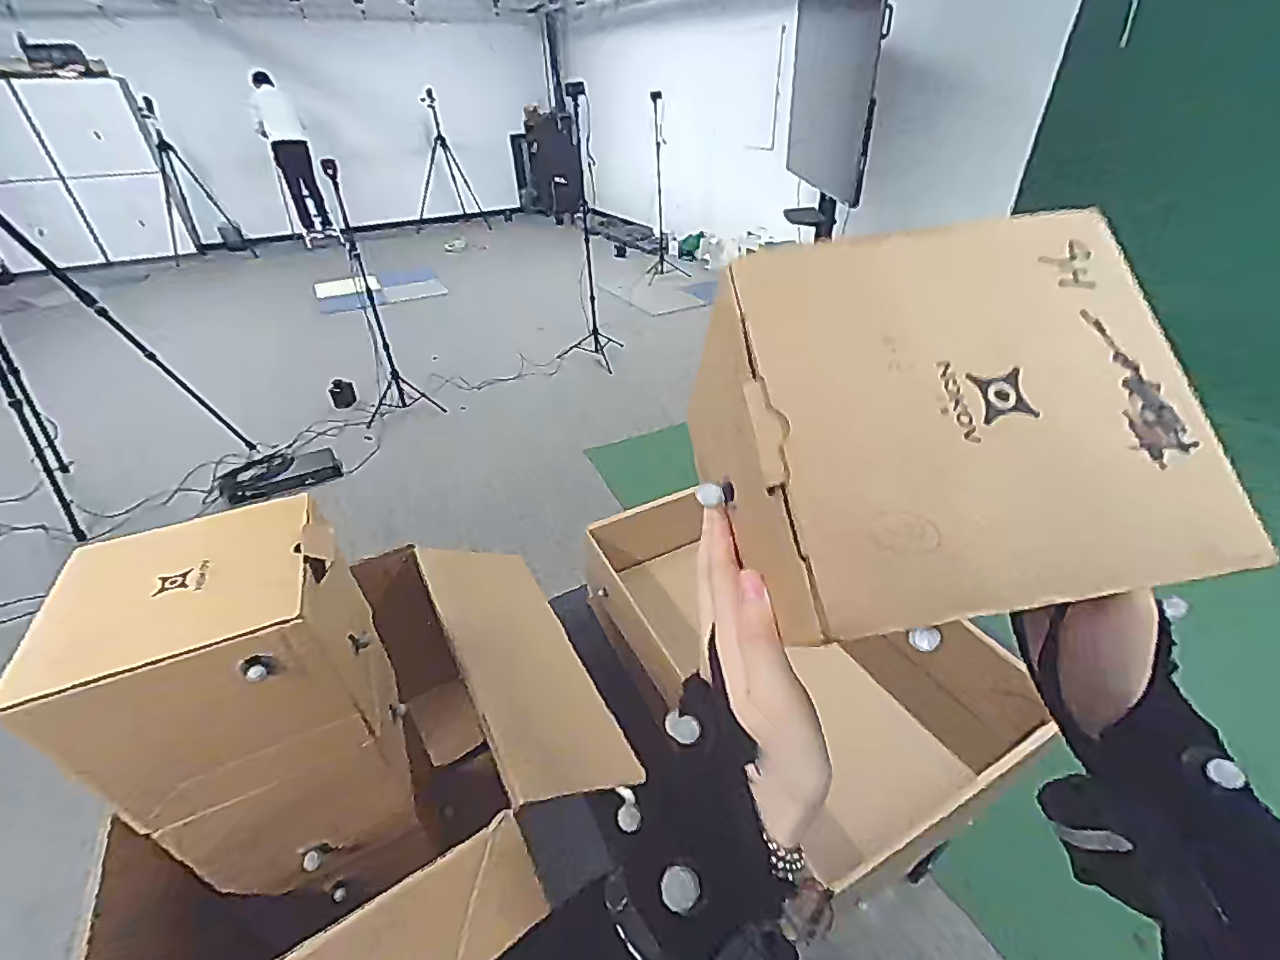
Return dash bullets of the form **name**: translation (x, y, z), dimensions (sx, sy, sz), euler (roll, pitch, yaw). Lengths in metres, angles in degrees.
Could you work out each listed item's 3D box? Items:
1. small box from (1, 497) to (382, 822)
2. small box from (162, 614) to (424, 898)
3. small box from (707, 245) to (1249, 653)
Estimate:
- **small box**: translation (-0.340, 0.145, 0.459), dimensions (0.179, 0.176, 0.168), euler (-16, 38, -20)
- **small box**: translation (-0.335, 0.274, 0.557), dimensions (0.168, 0.176, 0.179), euler (-17, 40, -20)
- **small box**: translation (0.139, 0.001, 0.305), dimensions (0.179, 0.176, 0.168), euler (-8, 73, -4)
